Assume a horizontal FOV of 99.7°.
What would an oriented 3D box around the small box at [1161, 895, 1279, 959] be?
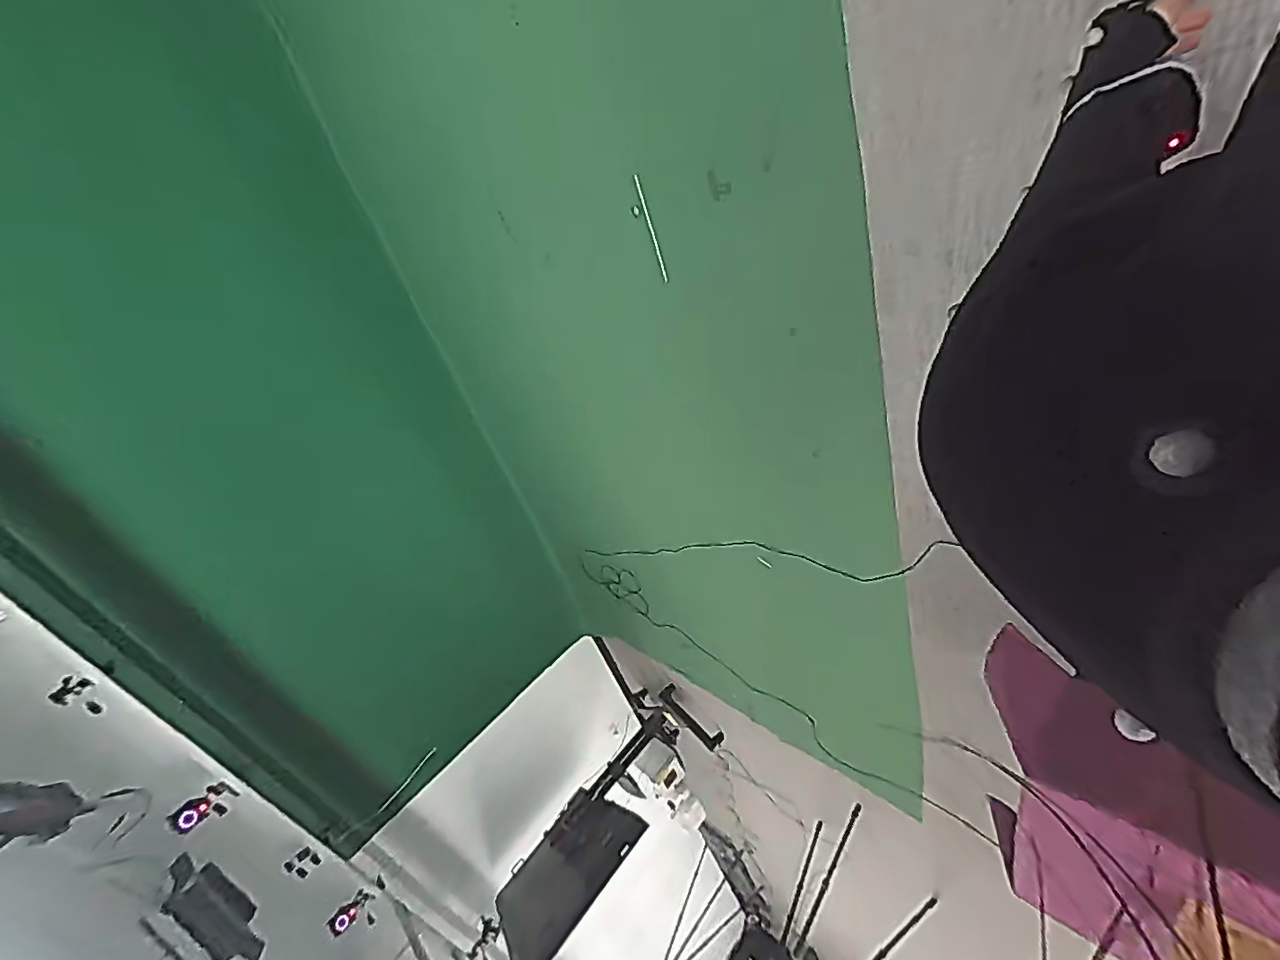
[{"bbox_3d":[1.062,0.902,0.970,0.168,0.176,0.179,17,138,43],"label":"small box"}]
